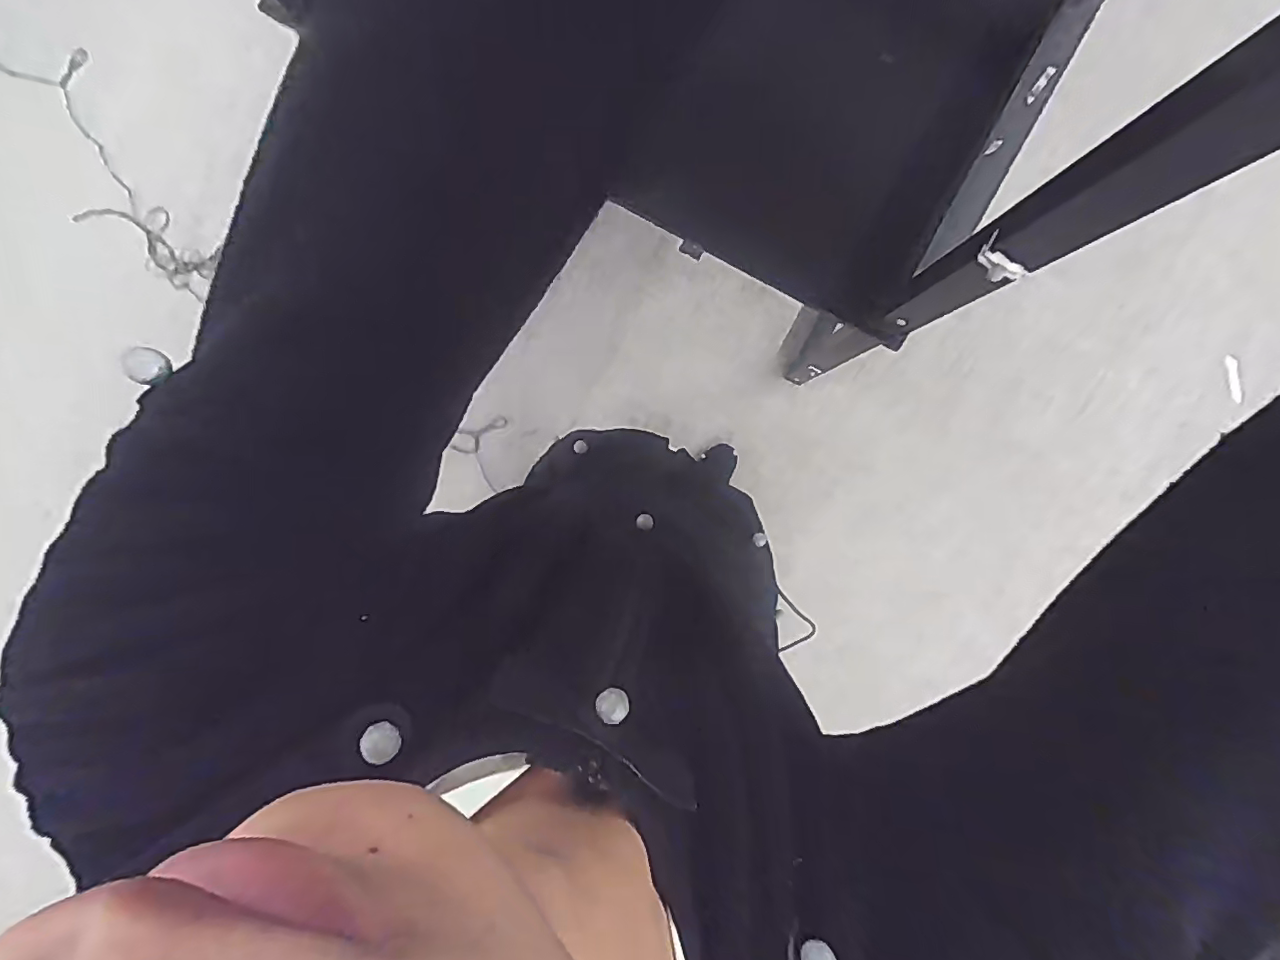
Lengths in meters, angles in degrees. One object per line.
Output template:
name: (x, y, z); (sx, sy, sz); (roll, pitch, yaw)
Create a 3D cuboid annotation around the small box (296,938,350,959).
small box: (-1.067, 1.636, 1.723); (0.168, 0.176, 0.179); (32, 95, 1)
